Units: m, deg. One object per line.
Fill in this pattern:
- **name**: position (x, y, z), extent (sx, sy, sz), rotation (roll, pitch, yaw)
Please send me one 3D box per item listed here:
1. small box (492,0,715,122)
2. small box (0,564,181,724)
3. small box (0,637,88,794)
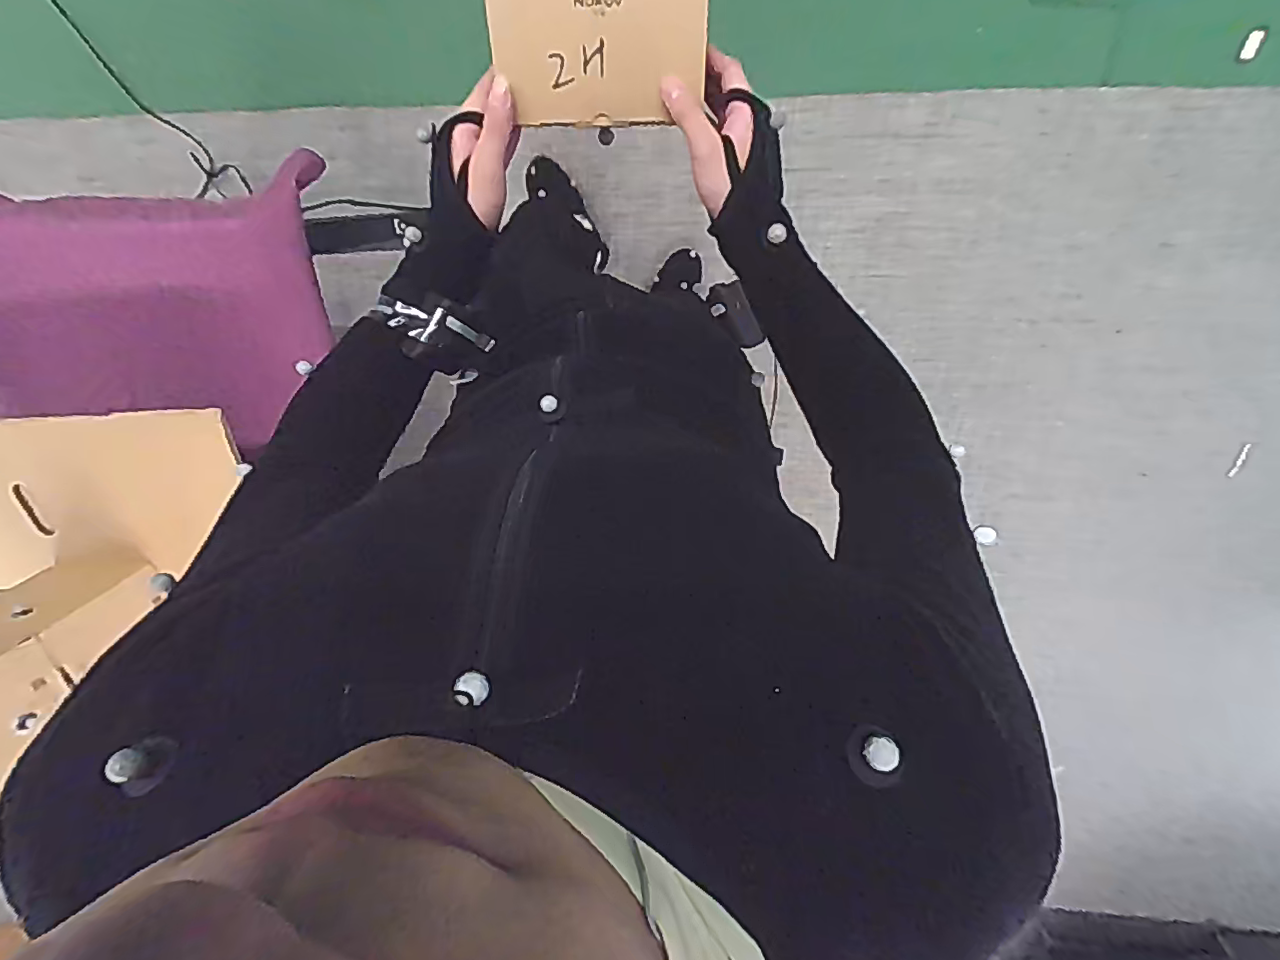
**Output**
- **small box**: position (-0.029, -0.406, 0.452), extent (0.168, 0.176, 0.179), rotation (0, 125, -1)
- **small box**: position (-0.845, 0.239, 0.809), extent (0.179, 0.176, 0.168), rotation (-2, 115, 7)
- **small box**: position (-0.867, 0.310, 0.665), extent (0.179, 0.176, 0.168), rotation (-3, 114, 6)
